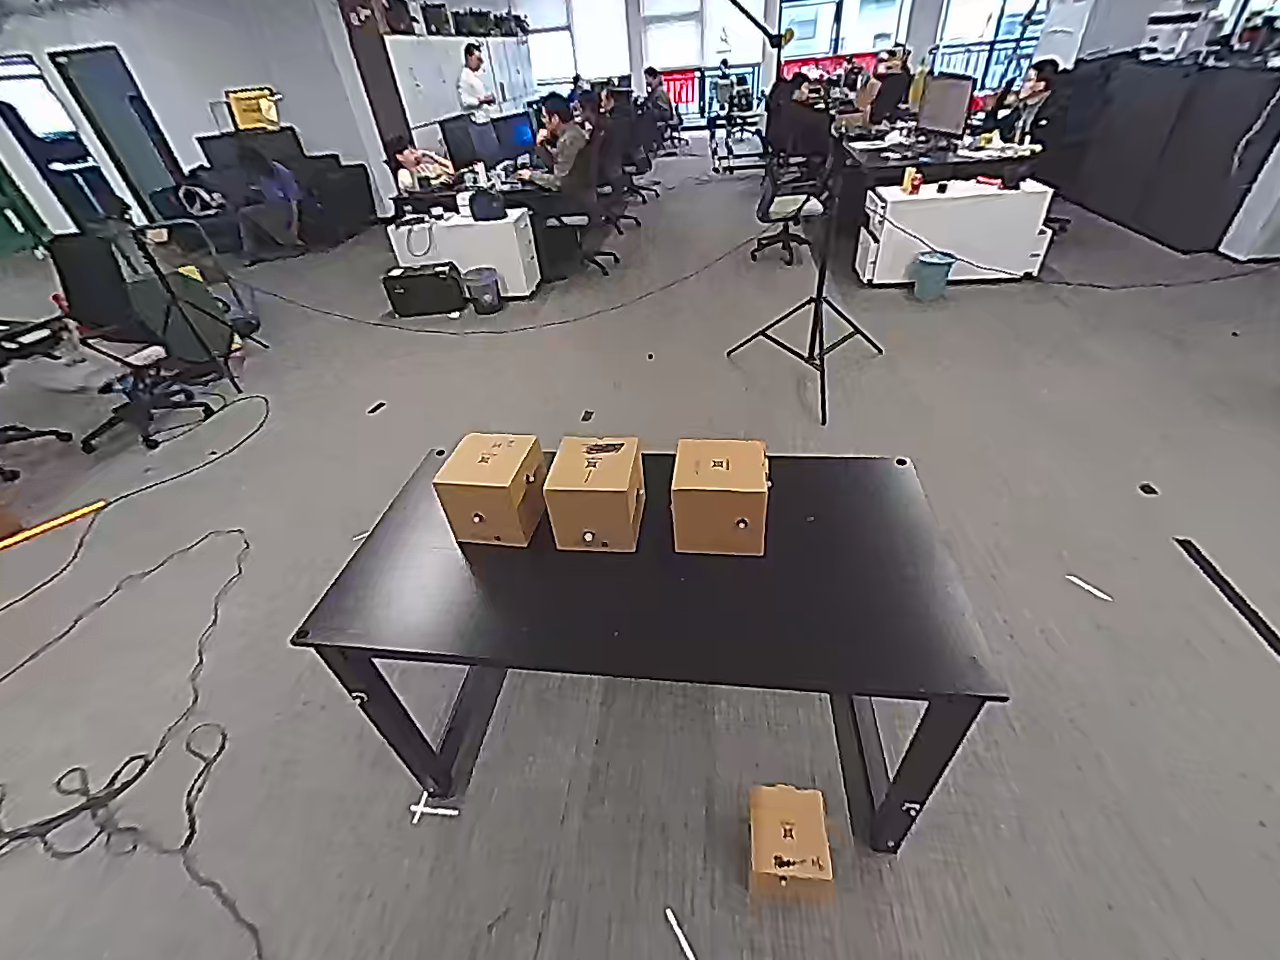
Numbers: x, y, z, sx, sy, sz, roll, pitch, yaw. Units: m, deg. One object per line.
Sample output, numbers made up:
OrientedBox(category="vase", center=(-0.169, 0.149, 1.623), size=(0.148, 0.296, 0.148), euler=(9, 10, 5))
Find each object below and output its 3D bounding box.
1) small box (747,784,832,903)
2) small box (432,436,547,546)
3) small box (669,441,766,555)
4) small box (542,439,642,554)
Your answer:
OrientedBox(category="small box", center=(0.333, 0.829, 1.237), size=(0.168, 0.176, 0.179), euler=(0, 38, 9))
OrientedBox(category="small box", center=(-0.311, 0.024, 1.163), size=(0.168, 0.176, 0.179), euler=(3, 39, 11))
OrientedBox(category="small box", center=(0.156, 0.037, 1.089), size=(0.179, 0.176, 0.168), euler=(0, 37, 9))
OrientedBox(category="small box", center=(-0.090, 0.031, 1.125), size=(0.168, 0.176, 0.179), euler=(1, 39, 9))
